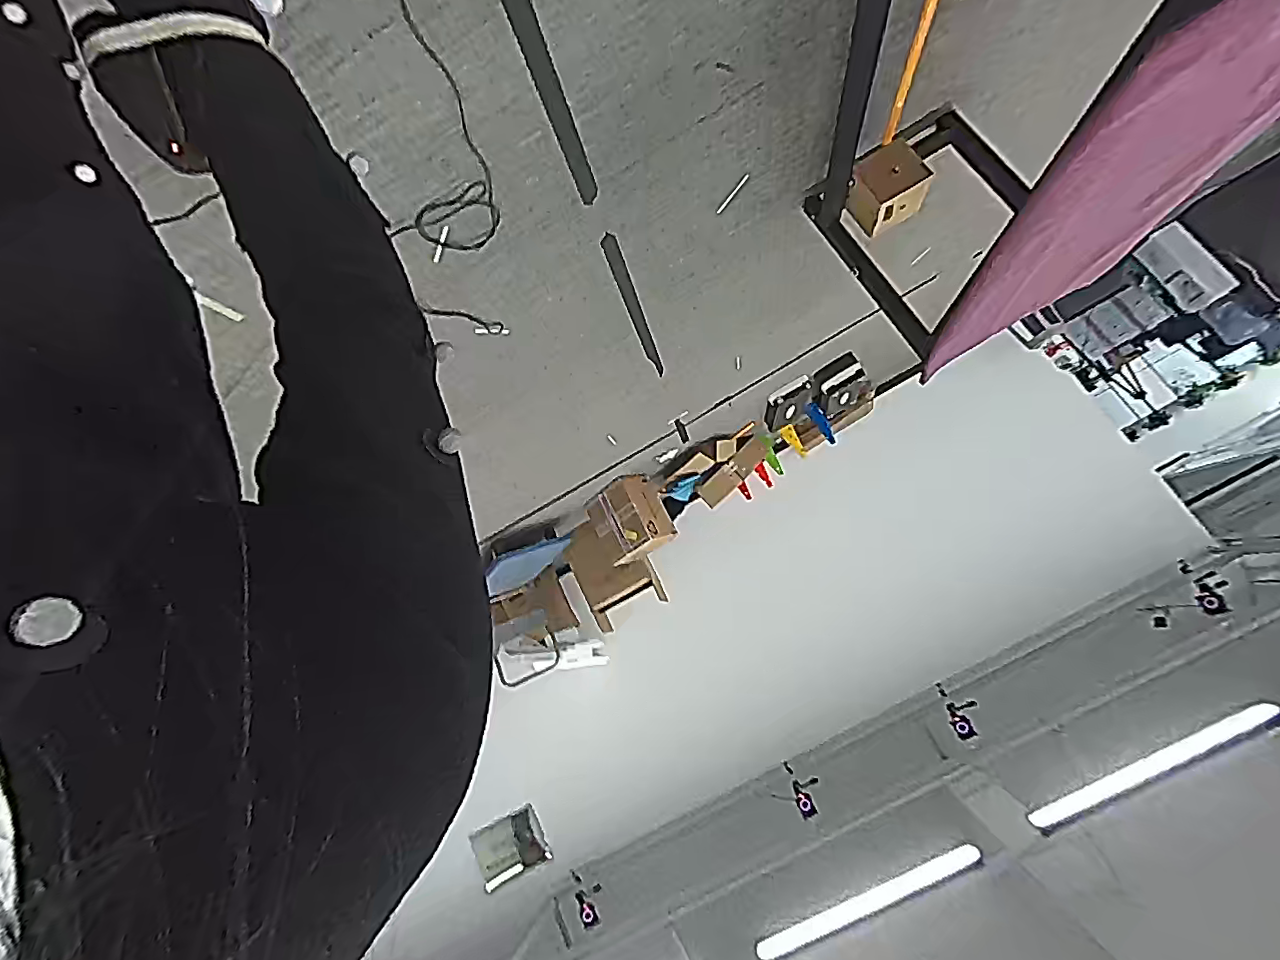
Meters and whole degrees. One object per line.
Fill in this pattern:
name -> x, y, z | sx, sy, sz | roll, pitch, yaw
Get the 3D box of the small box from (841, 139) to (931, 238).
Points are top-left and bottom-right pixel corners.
small box -> 0.756, -0.909, 1.687 | 0.179, 0.176, 0.168 | -30, 164, 3
